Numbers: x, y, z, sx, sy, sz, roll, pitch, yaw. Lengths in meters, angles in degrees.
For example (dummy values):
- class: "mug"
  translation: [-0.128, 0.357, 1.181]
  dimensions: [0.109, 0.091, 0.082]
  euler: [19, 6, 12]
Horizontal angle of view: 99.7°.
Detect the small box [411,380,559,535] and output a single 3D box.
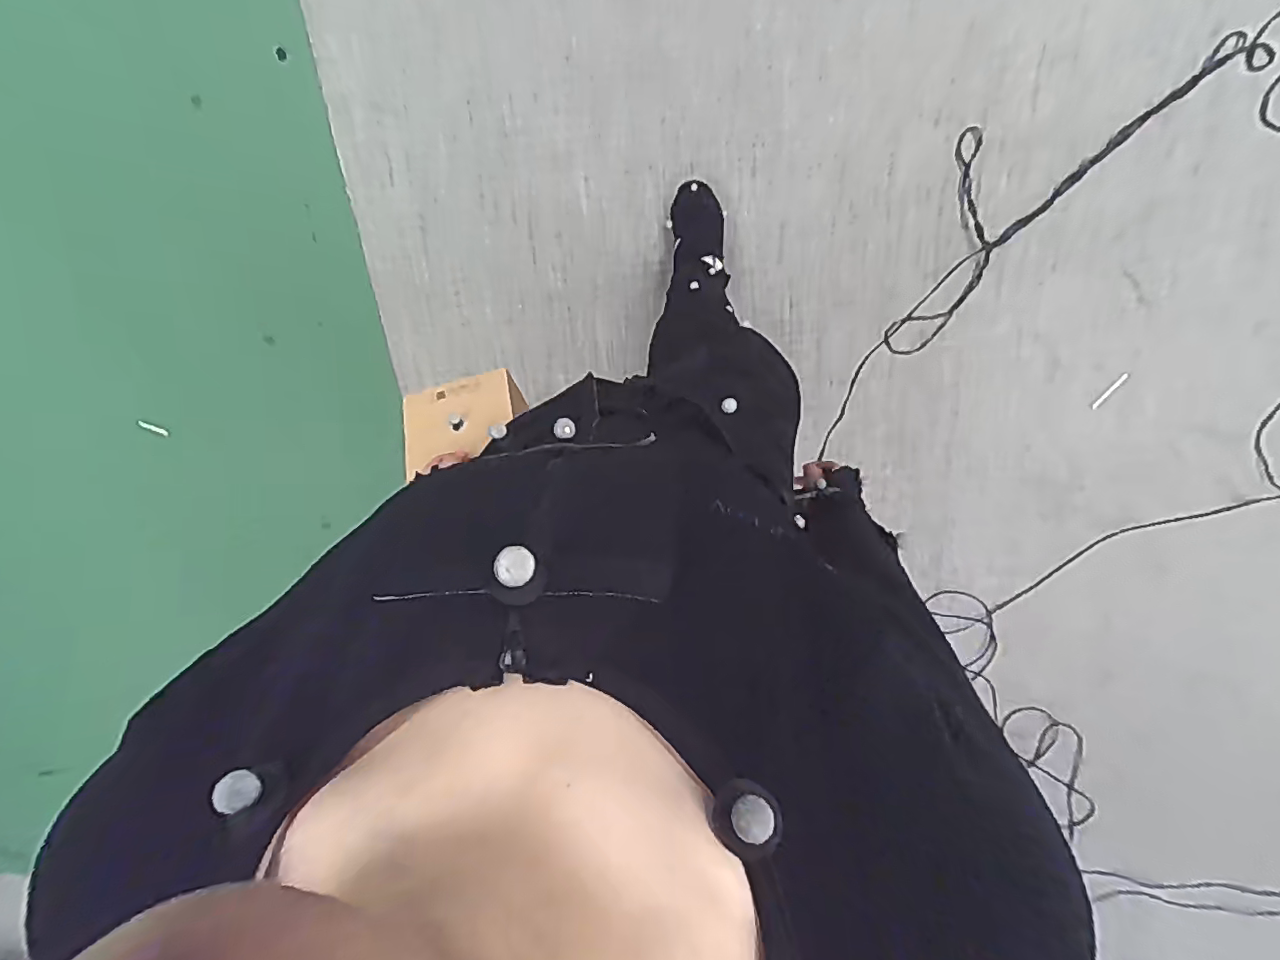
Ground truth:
- class: "small box"
  translation: [-0.243, -0.039, 0.856]
  dimensions: [0.168, 0.176, 0.179]
  euler: [-17, 153, 1]
